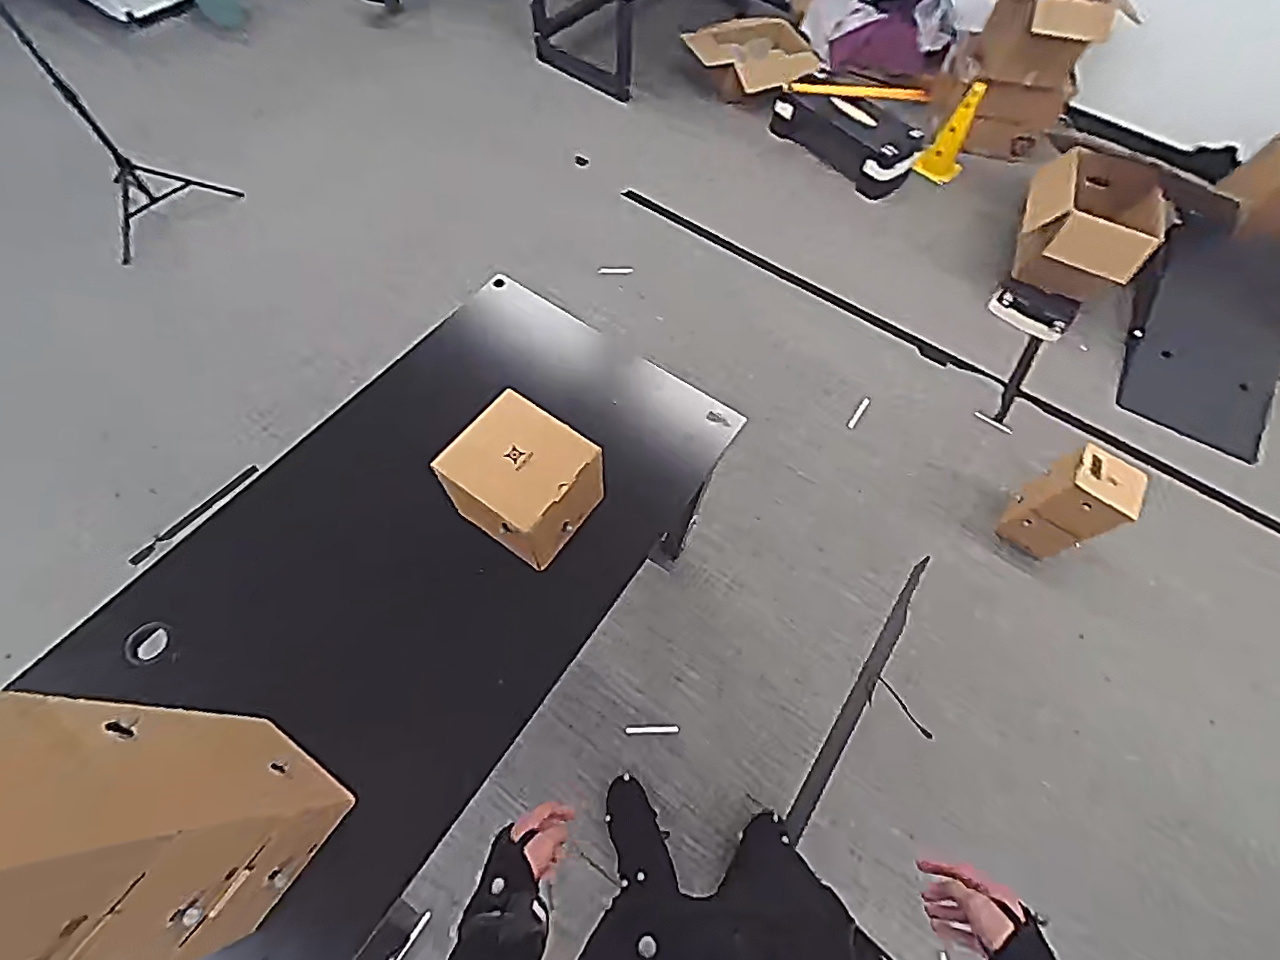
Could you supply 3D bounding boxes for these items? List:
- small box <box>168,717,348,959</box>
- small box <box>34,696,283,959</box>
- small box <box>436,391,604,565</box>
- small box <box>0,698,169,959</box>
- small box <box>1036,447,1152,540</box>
[{"bbox_3d":[-0.474,0.391,0.607,0.179,0.176,0.168,32,65,11],"label":"small box"},{"bbox_3d":[-0.465,0.315,0.461,0.179,0.176,0.168,32,66,12],"label":"small box"},{"bbox_3d":[-0.172,0.005,0.826,0.179,0.176,0.168,33,66,12],"label":"small box"},{"bbox_3d":[-0.454,0.241,0.317,0.179,0.176,0.168,32,67,12],"label":"small box"},{"bbox_3d":[1.280,0.046,1.534,0.179,0.176,0.168,34,66,11],"label":"small box"}]
